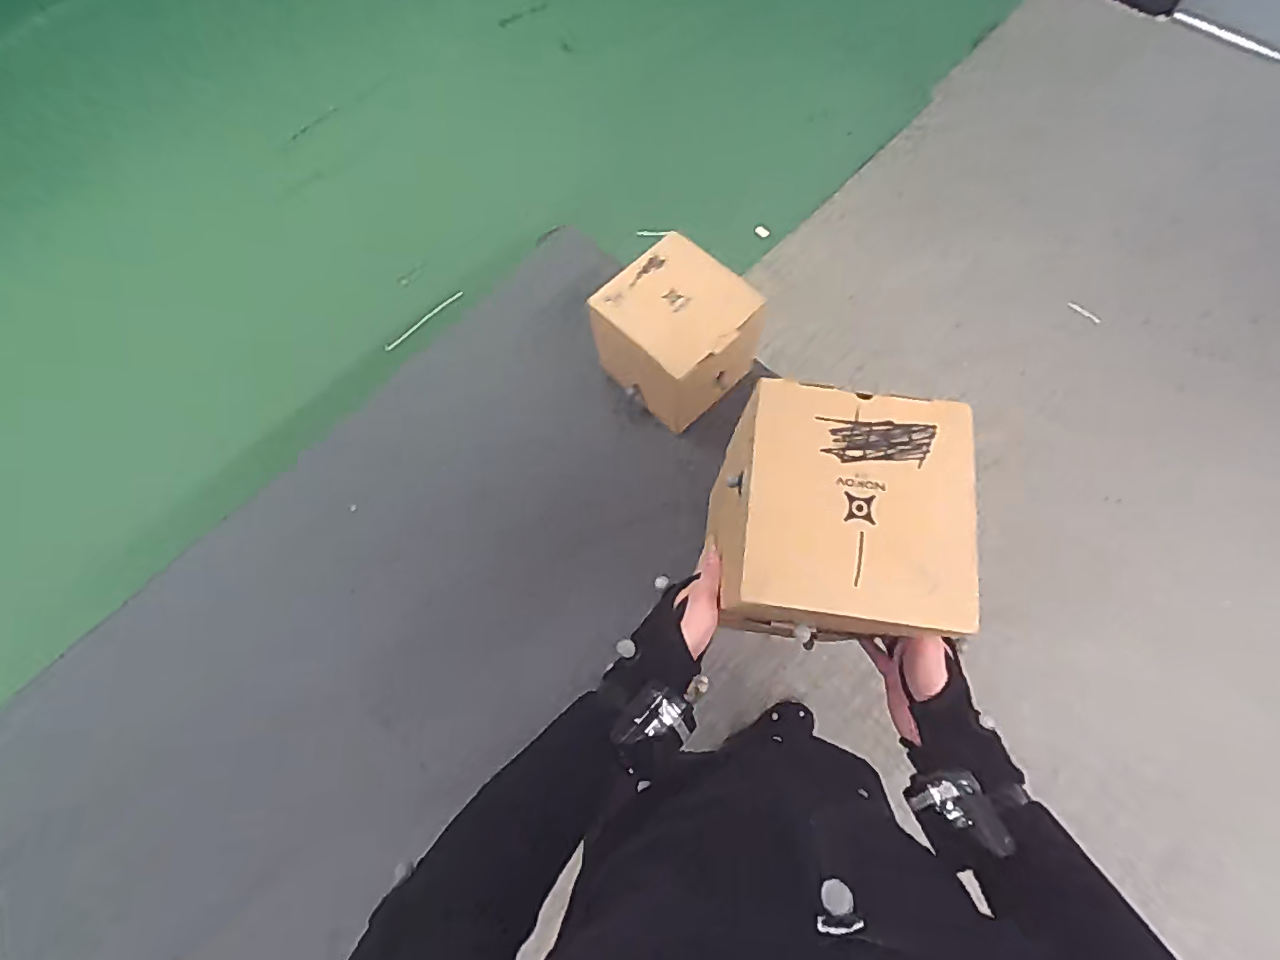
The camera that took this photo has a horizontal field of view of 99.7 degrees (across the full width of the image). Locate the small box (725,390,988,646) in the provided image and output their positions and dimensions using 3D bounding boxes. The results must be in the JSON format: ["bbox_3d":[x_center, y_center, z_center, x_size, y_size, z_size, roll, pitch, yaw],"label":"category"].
[{"bbox_3d":[0.174,0.044,0.480,0.168,0.176,0.179,8,74,2],"label":"small box"}]

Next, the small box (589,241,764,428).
[{"bbox_3d":[0.050,-0.197,0.790,0.168,0.176,0.179,-42,75,-11],"label":"small box"}]

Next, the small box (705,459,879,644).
[{"bbox_3d":[0.173,0.093,0.637,0.168,0.176,0.179,8,72,2],"label":"small box"}]
